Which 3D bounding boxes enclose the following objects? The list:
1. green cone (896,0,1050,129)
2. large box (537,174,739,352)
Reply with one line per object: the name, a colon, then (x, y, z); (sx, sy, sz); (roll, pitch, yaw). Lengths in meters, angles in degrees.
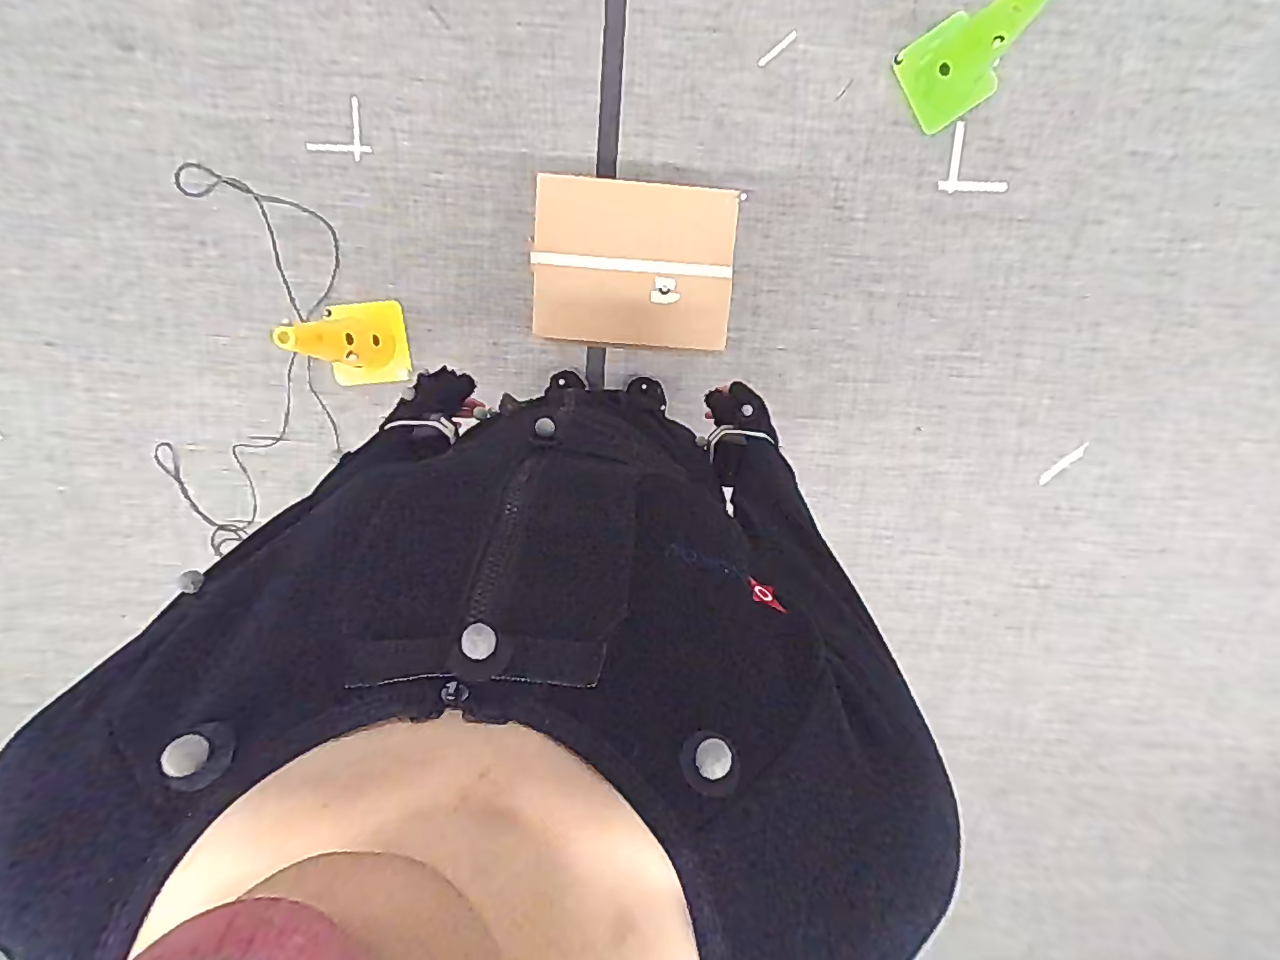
green cone: (0.739, -0.937, 1.116); (0.202, 0.368, 0.200); (-34, 102, 5)
large box: (-0.015, -0.469, 1.242); (0.408, 0.320, 0.320); (4, 102, -3)
